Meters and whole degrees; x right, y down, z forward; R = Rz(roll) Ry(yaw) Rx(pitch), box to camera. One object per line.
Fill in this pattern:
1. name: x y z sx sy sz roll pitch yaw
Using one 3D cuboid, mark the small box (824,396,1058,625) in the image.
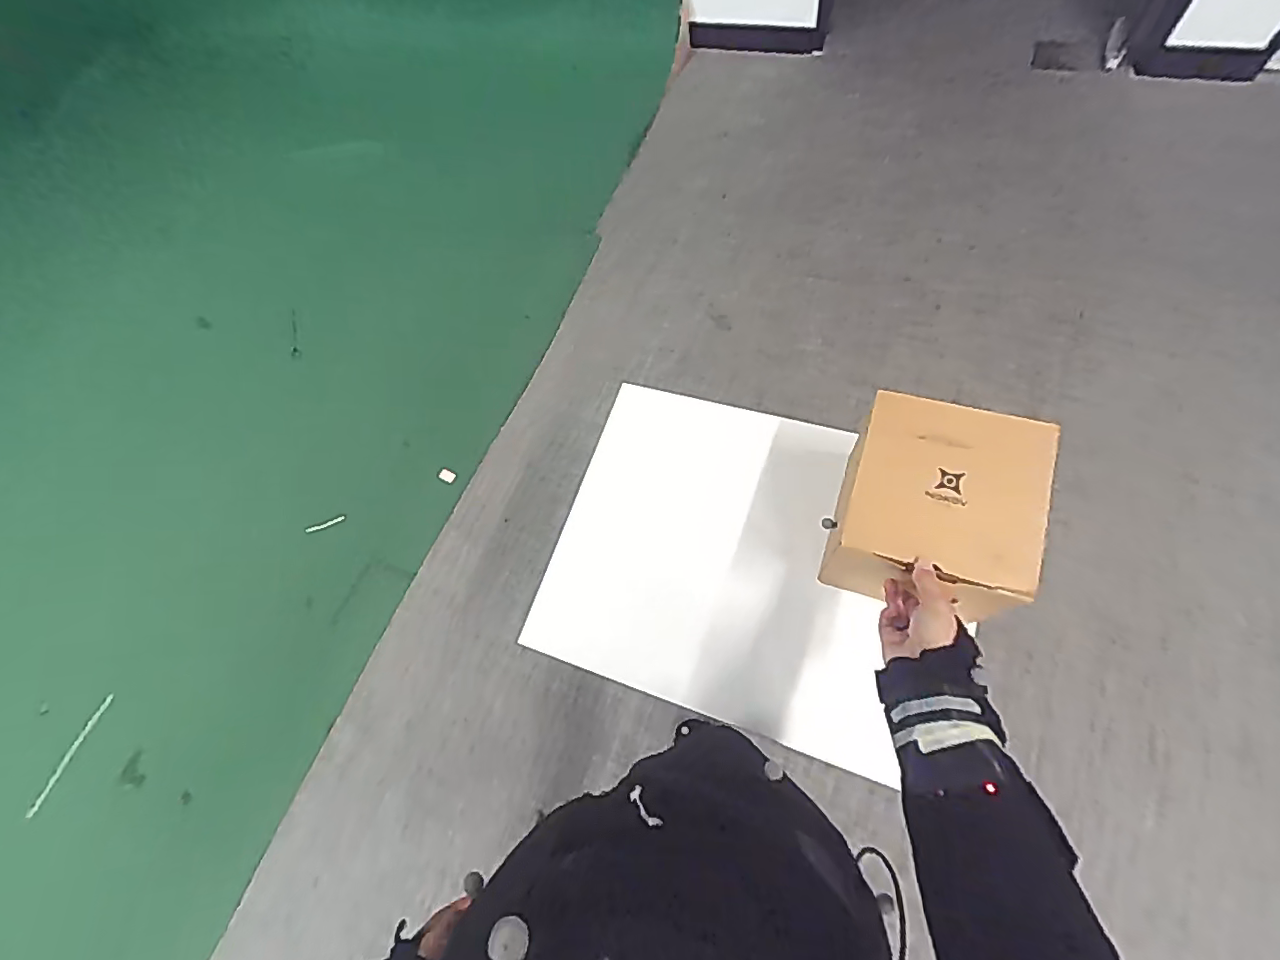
1. small box: 0.304 0.041 0.579 0.168 0.176 0.179 15 71 16
